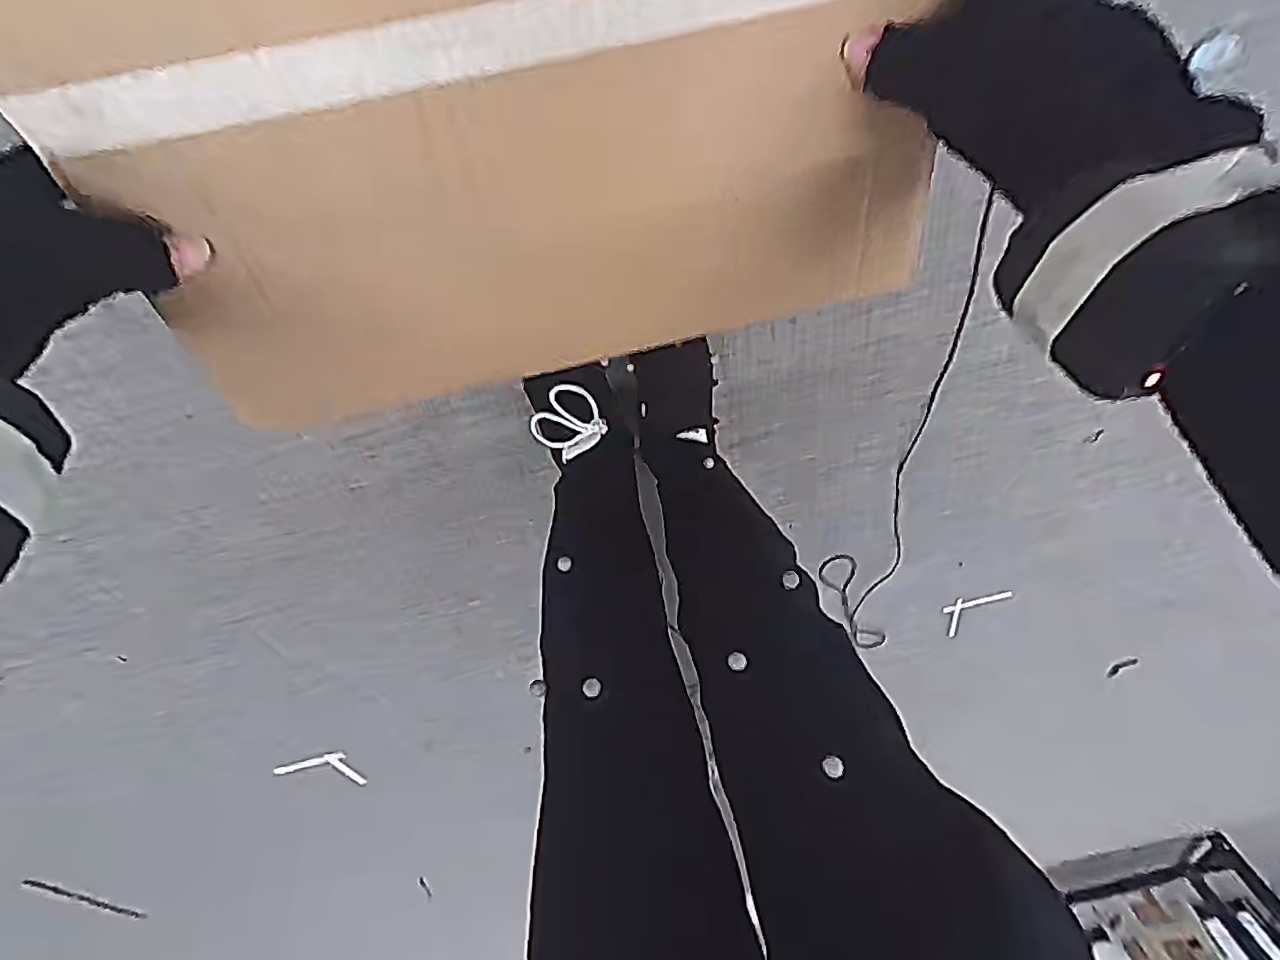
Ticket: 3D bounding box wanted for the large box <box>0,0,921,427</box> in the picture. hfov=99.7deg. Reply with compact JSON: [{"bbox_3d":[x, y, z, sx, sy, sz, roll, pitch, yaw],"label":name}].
[{"bbox_3d":[-0.085,-0.288,0.351,0.408,0.320,0.320,-14,131,-3],"label":"large box"}]
